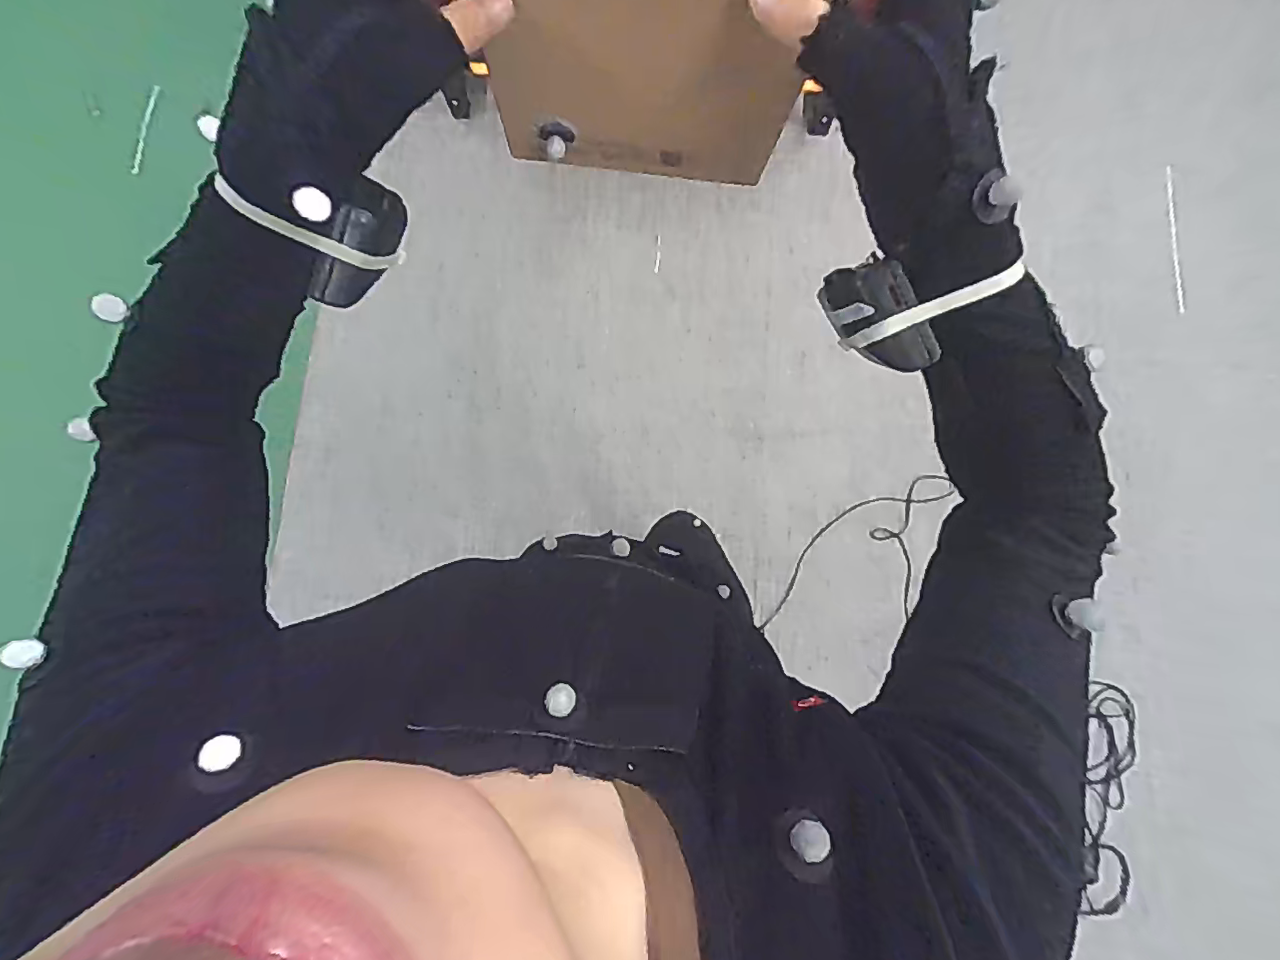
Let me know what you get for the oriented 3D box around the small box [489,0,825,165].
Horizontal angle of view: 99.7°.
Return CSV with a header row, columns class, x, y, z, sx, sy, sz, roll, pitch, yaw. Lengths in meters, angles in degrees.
class,x,y,z,sx,sy,sz,roll,pitch,yaw
small box,0.013,-0.304,0.286,0.168,0.176,0.179,5,86,-4
